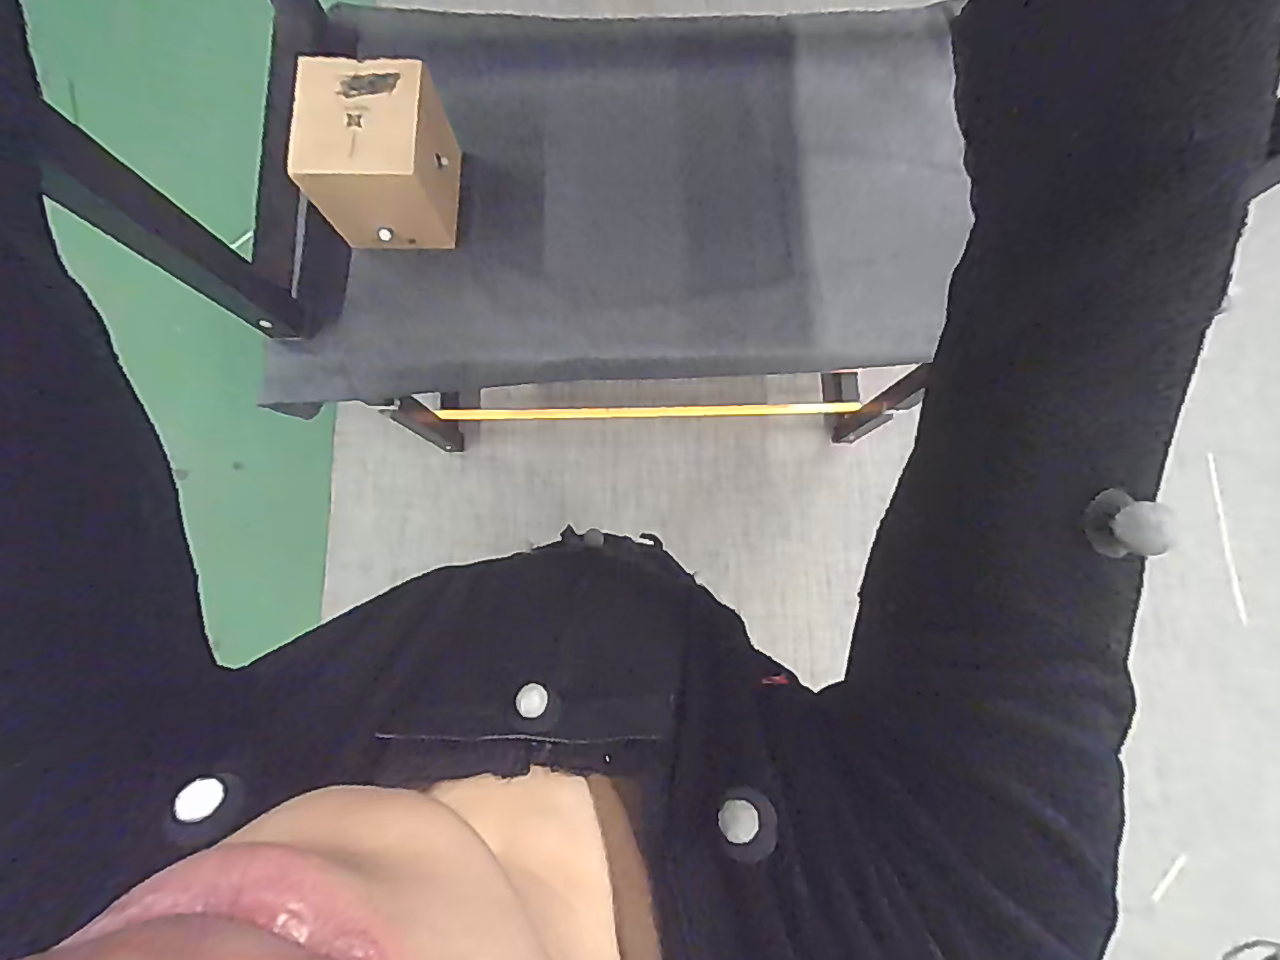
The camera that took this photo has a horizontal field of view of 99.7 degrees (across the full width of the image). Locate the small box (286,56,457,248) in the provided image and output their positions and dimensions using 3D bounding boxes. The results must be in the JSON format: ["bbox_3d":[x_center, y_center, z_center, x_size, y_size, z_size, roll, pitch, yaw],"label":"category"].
[{"bbox_3d":[-0.375,-0.467,0.788,0.168,0.176,0.179,0,81,-1],"label":"small box"}]
